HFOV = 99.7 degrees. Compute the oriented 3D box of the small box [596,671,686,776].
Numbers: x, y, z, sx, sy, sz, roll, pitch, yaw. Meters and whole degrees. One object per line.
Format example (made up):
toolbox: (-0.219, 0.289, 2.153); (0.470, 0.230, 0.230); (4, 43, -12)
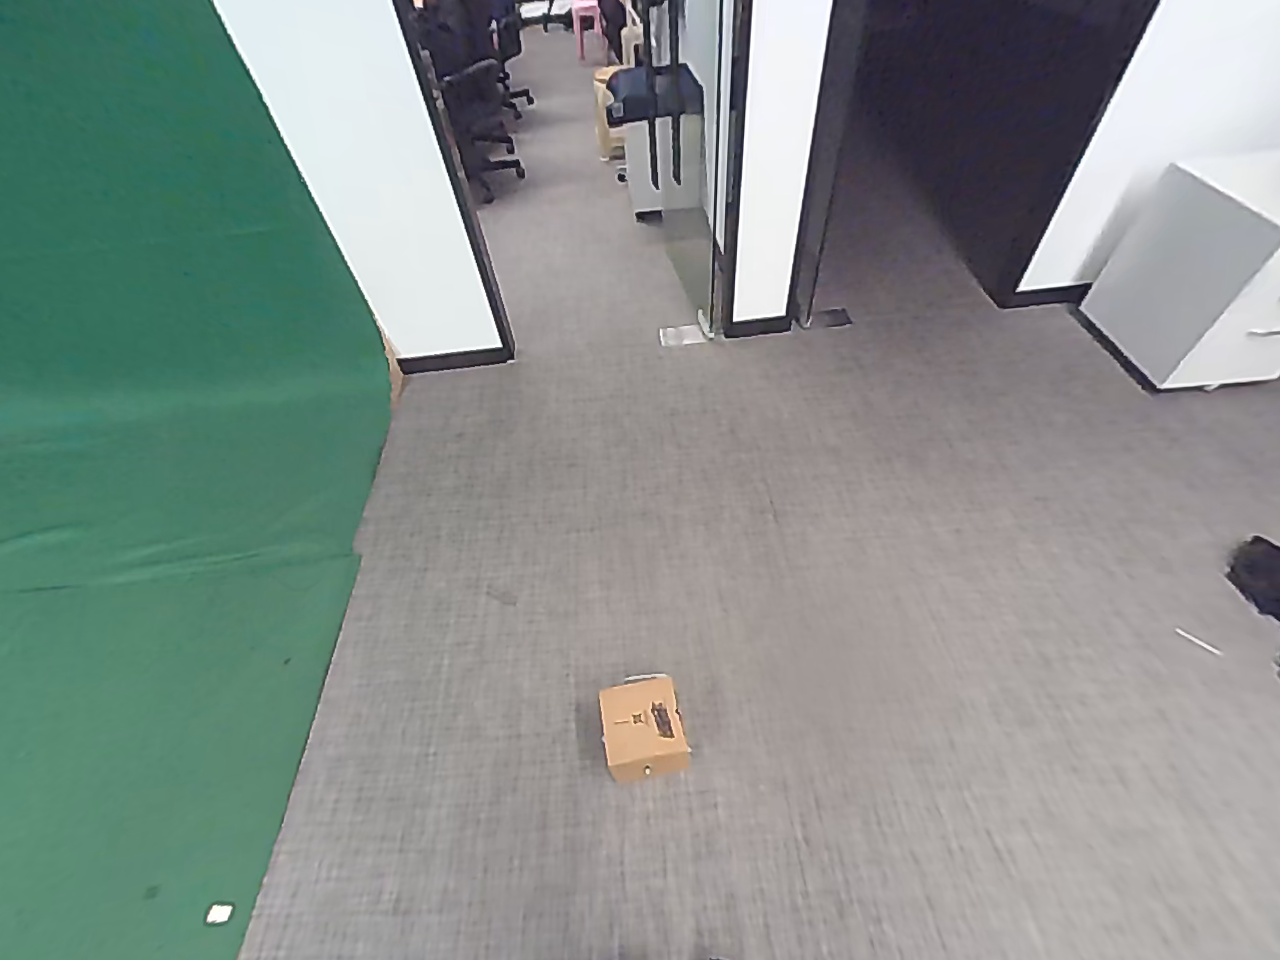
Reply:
small box: (0.002, 0.577, 1.278); (0.179, 0.176, 0.168); (-12, 50, -6)
